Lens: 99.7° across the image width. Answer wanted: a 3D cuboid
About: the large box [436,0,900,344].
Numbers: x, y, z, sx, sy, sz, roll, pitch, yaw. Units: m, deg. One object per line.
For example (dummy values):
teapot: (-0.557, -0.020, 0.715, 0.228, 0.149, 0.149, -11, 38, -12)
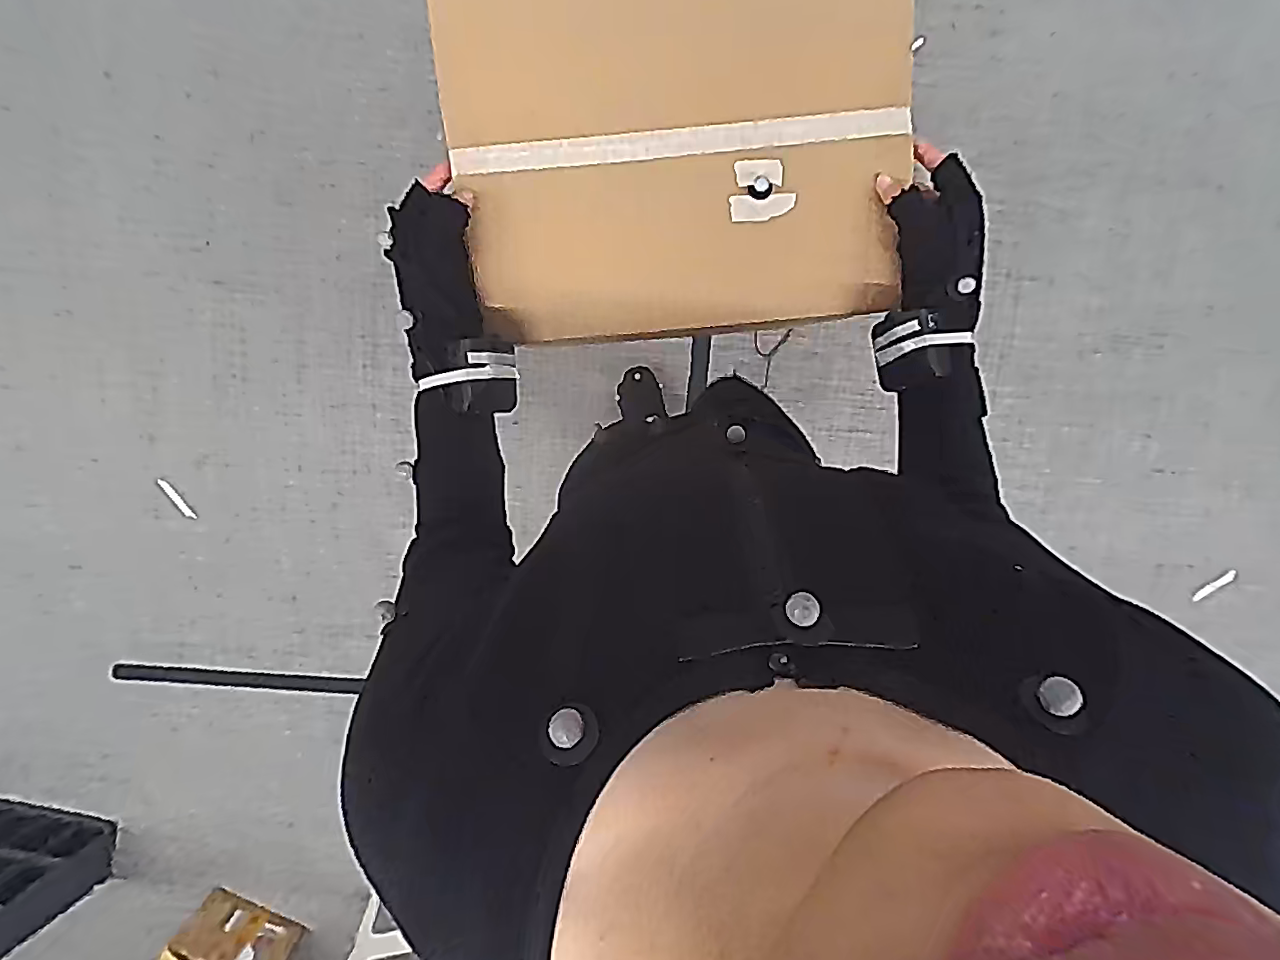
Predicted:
large box: (0.029, -0.340, 0.631, 0.408, 0.320, 0.320, -5, 103, -1)
